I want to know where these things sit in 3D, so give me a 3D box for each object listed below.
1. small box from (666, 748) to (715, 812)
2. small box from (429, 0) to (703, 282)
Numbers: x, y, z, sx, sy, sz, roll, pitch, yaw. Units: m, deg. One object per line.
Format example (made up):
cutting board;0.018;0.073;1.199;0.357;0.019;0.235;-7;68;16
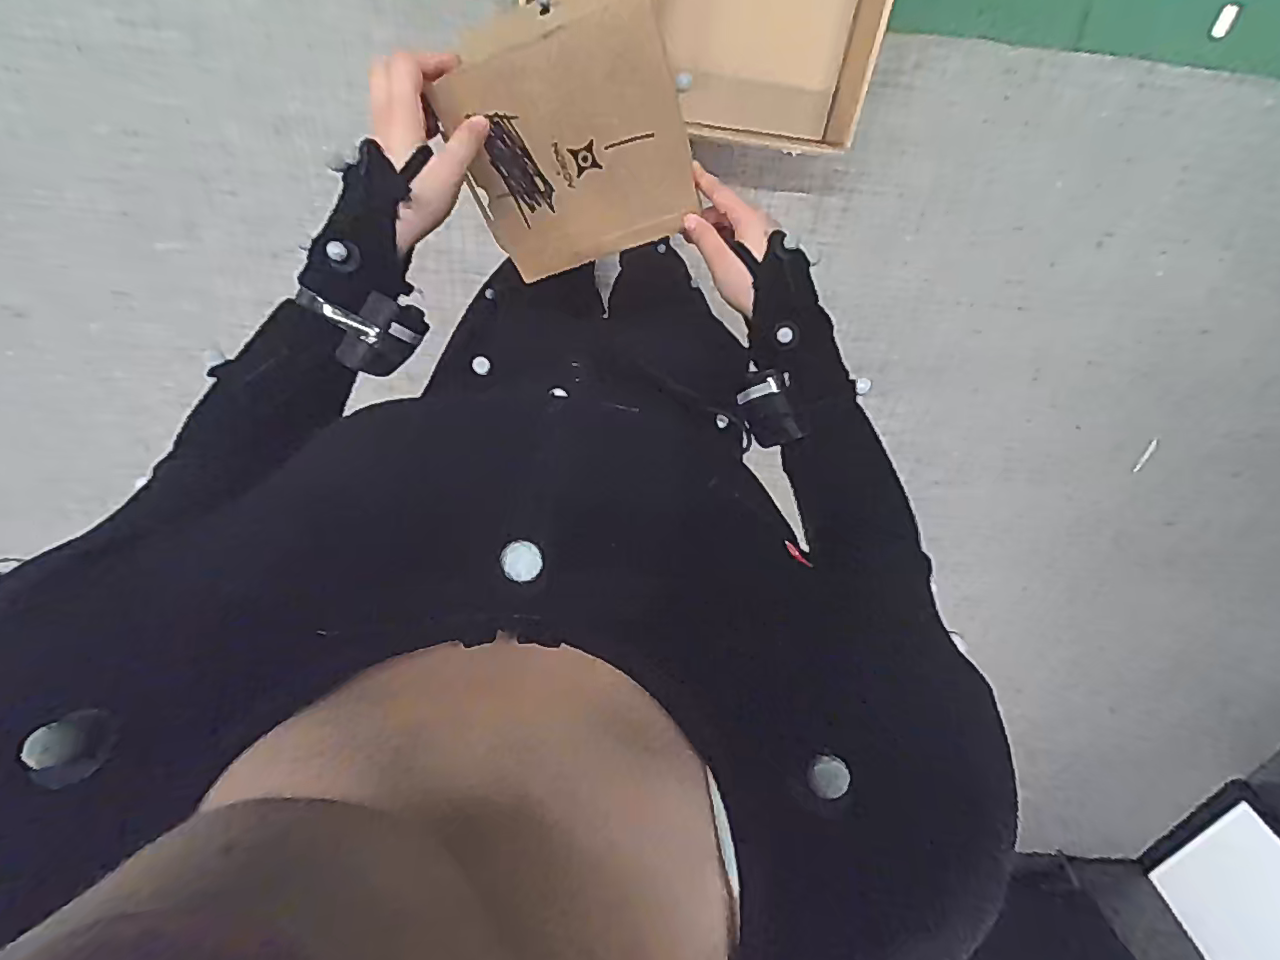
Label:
small box;0.196;1.185;2.138;0.179;0.176;0.168;-1;125;-1
small box;-0.051;-0.315;0.486;0.179;0.176;0.168;-14;139;13
